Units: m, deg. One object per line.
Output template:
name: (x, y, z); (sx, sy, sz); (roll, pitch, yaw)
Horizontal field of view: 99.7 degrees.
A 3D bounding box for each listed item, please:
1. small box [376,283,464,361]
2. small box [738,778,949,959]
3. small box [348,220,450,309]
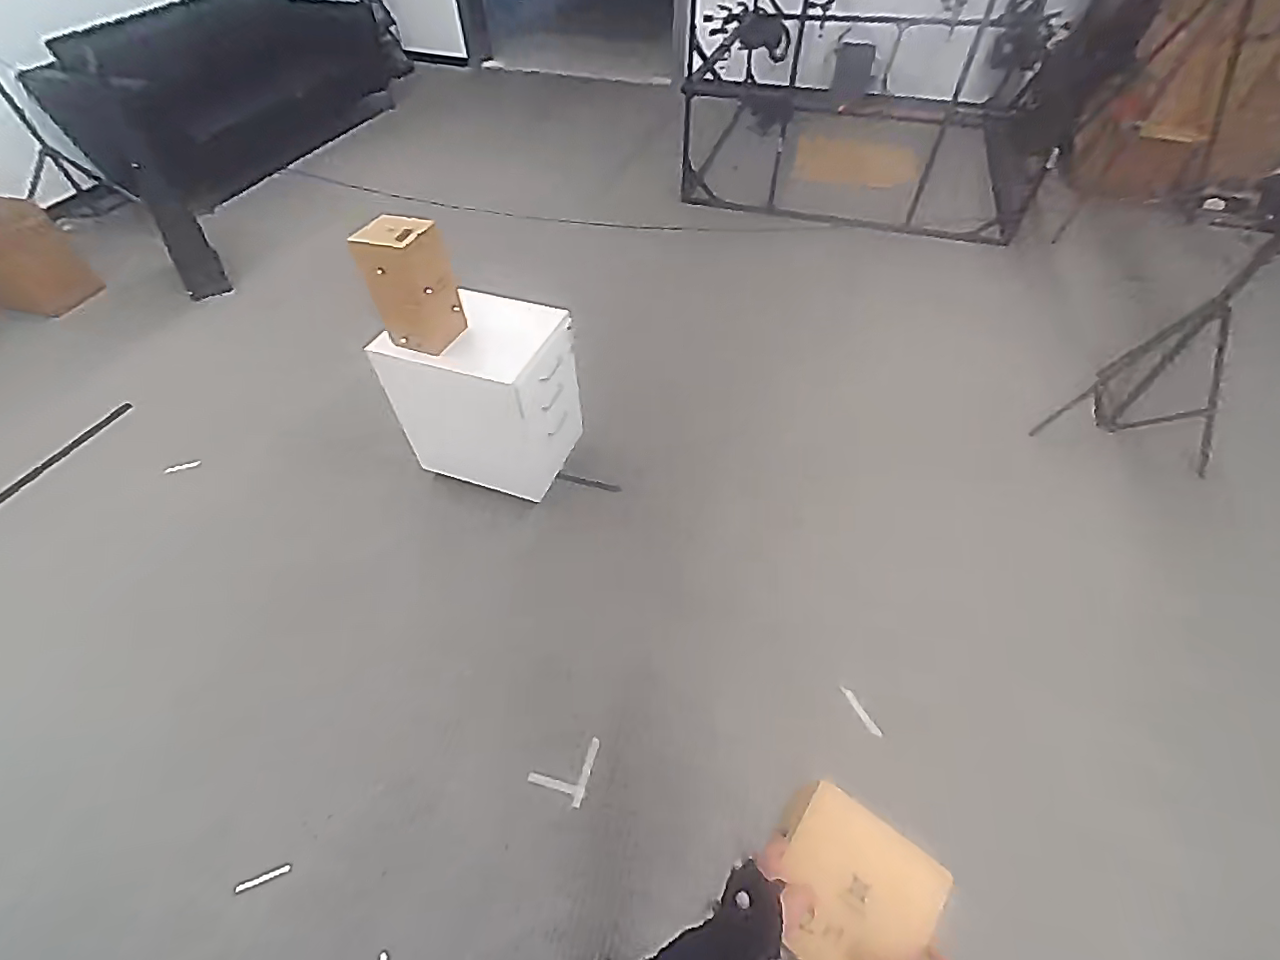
small box: (-0.653, -0.490, 1.632); (0.168, 0.176, 0.179); (16, 51, 14)
small box: (0.236, 0.508, 0.668); (0.168, 0.176, 0.179); (32, 62, 21)
small box: (-0.660, -0.598, 1.509); (0.179, 0.176, 0.168); (11, 50, 12)
